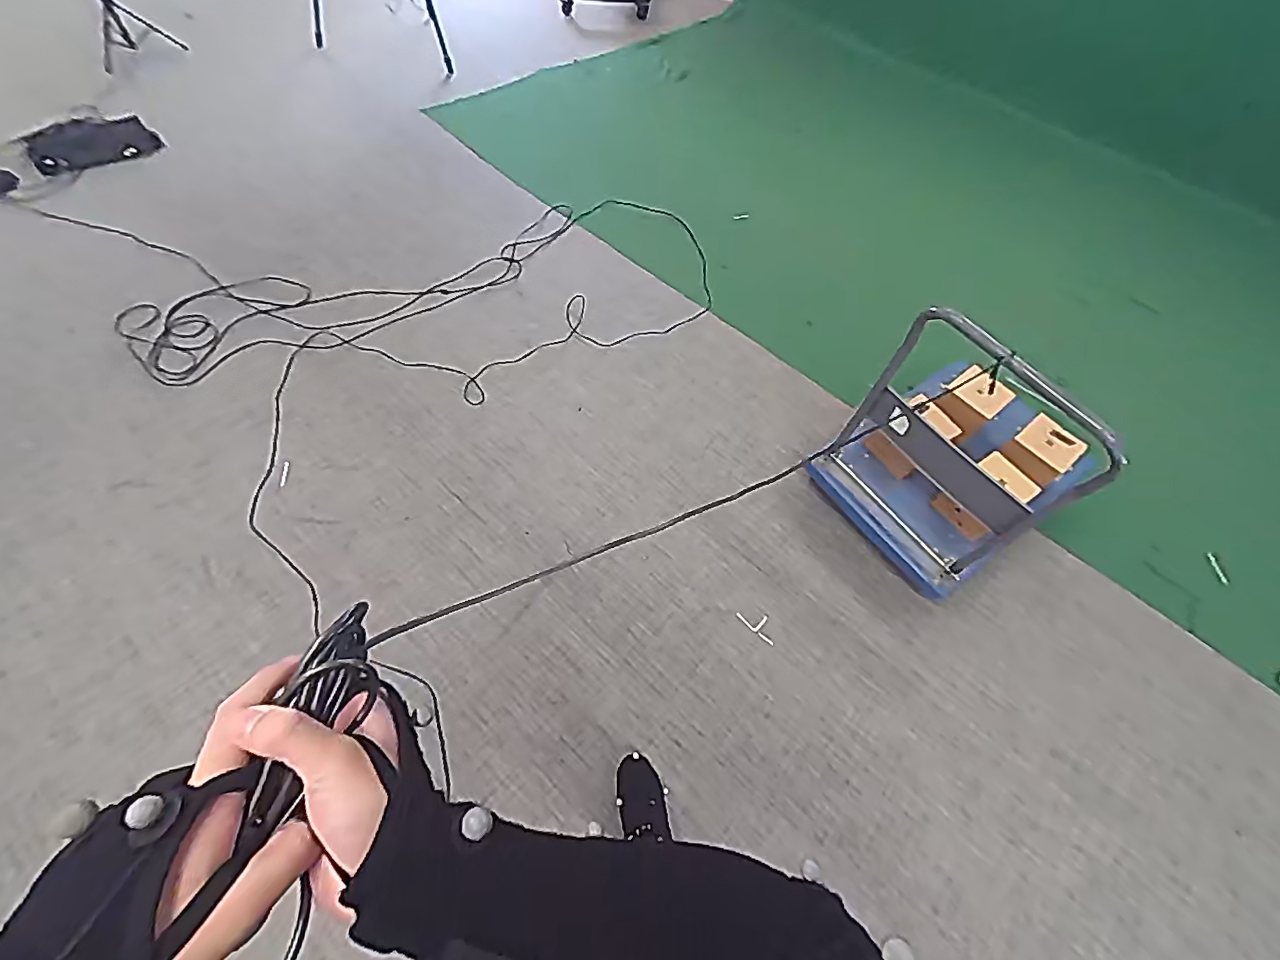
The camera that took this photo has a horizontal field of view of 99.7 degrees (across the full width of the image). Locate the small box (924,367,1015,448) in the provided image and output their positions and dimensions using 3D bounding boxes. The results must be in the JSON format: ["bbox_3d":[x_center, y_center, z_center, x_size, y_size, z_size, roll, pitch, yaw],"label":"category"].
[{"bbox_3d":[1.098,-0.239,1.821,0.179,0.176,0.168,-33,67,-23],"label":"small box"}]

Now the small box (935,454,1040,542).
[{"bbox_3d":[1.038,0.057,1.631,0.179,0.176,0.168,-29,65,-21],"label":"small box"}]

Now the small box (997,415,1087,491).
[{"bbox_3d":[1.258,-0.068,1.730,0.179,0.176,0.168,-33,66,-22],"label":"small box"}]
